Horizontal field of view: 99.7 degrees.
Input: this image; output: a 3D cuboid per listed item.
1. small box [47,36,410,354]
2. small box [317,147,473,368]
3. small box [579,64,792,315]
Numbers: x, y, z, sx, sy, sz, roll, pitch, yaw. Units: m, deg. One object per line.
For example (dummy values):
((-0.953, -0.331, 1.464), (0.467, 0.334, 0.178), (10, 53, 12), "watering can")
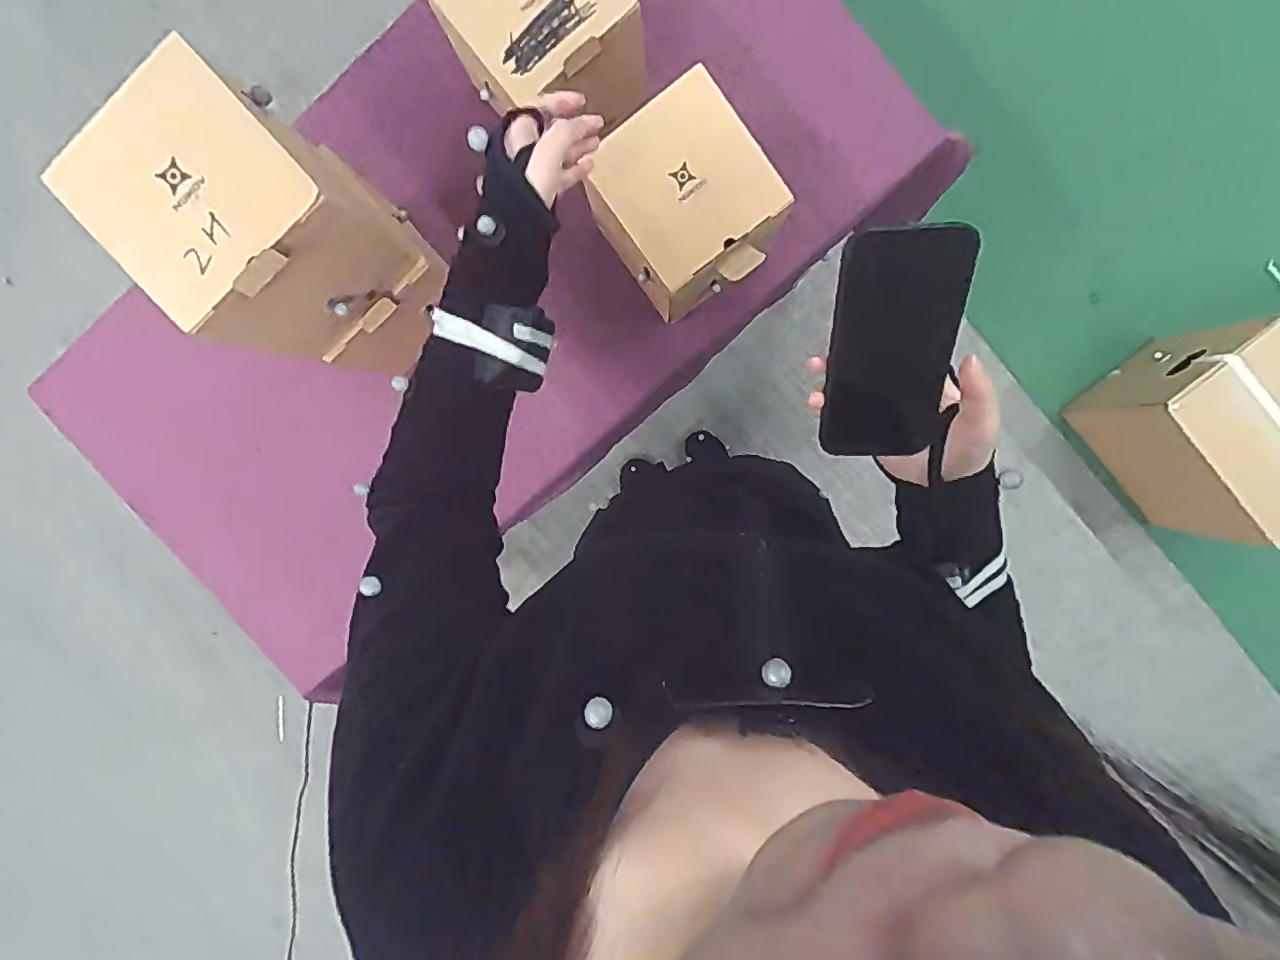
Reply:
((-0.366, -0.244, 0.517), (0.168, 0.176, 0.179), (-42, 92, 5), "small box")
((-0.345, -0.258, 0.681), (0.168, 0.176, 0.179), (-41, 91, 5), "small box")
((0.050, -0.328, 0.654), (0.168, 0.176, 0.179), (-36, 93, 5), "small box")
